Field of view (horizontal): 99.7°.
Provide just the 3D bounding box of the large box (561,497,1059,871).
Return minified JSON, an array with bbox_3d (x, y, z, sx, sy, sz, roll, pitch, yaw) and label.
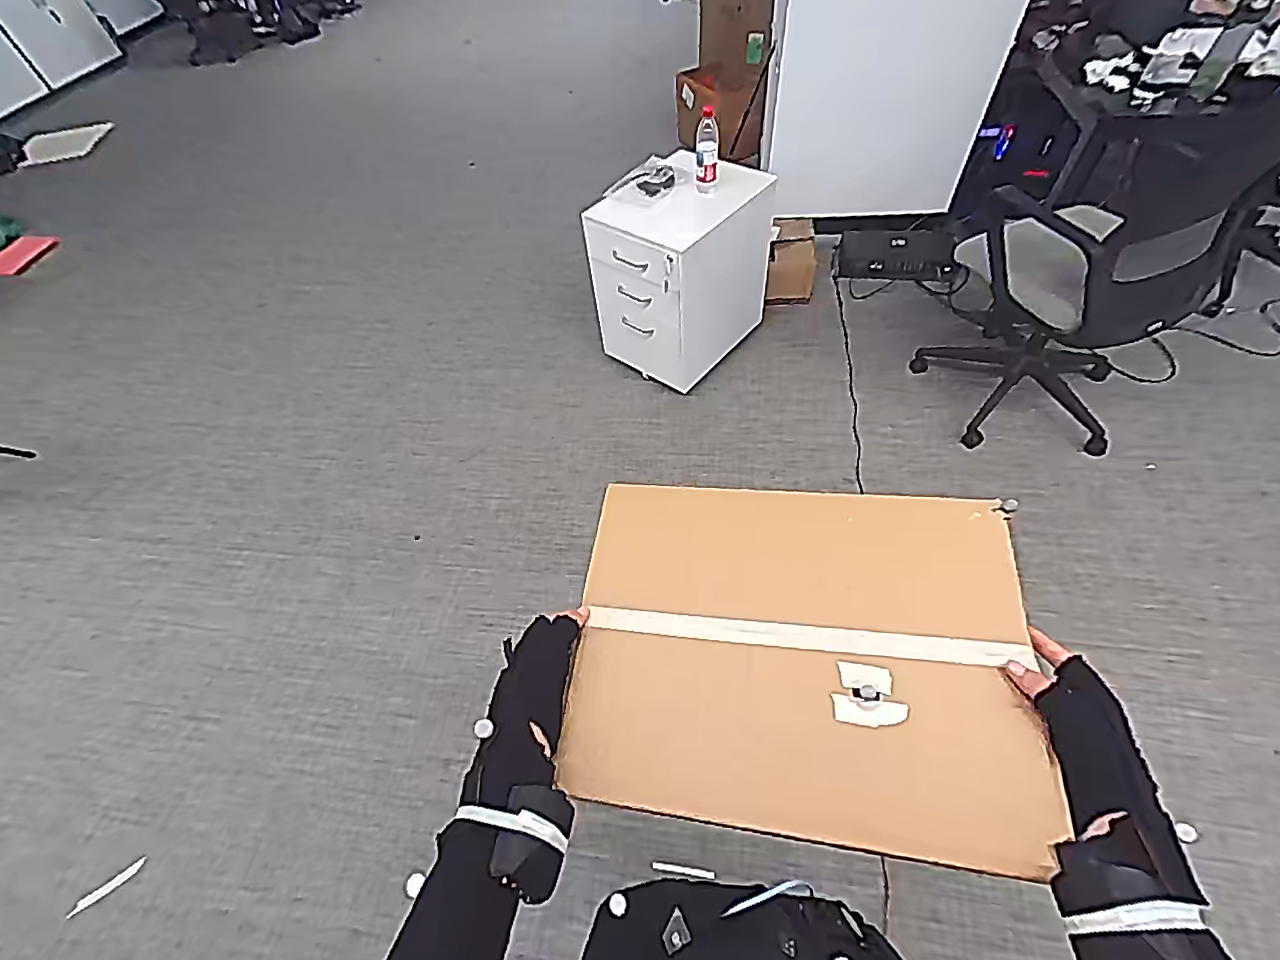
[{"bbox_3d":[0.165,0.234,0.642,0.408,0.320,0.320,2,60,14],"label":"large box"}]
